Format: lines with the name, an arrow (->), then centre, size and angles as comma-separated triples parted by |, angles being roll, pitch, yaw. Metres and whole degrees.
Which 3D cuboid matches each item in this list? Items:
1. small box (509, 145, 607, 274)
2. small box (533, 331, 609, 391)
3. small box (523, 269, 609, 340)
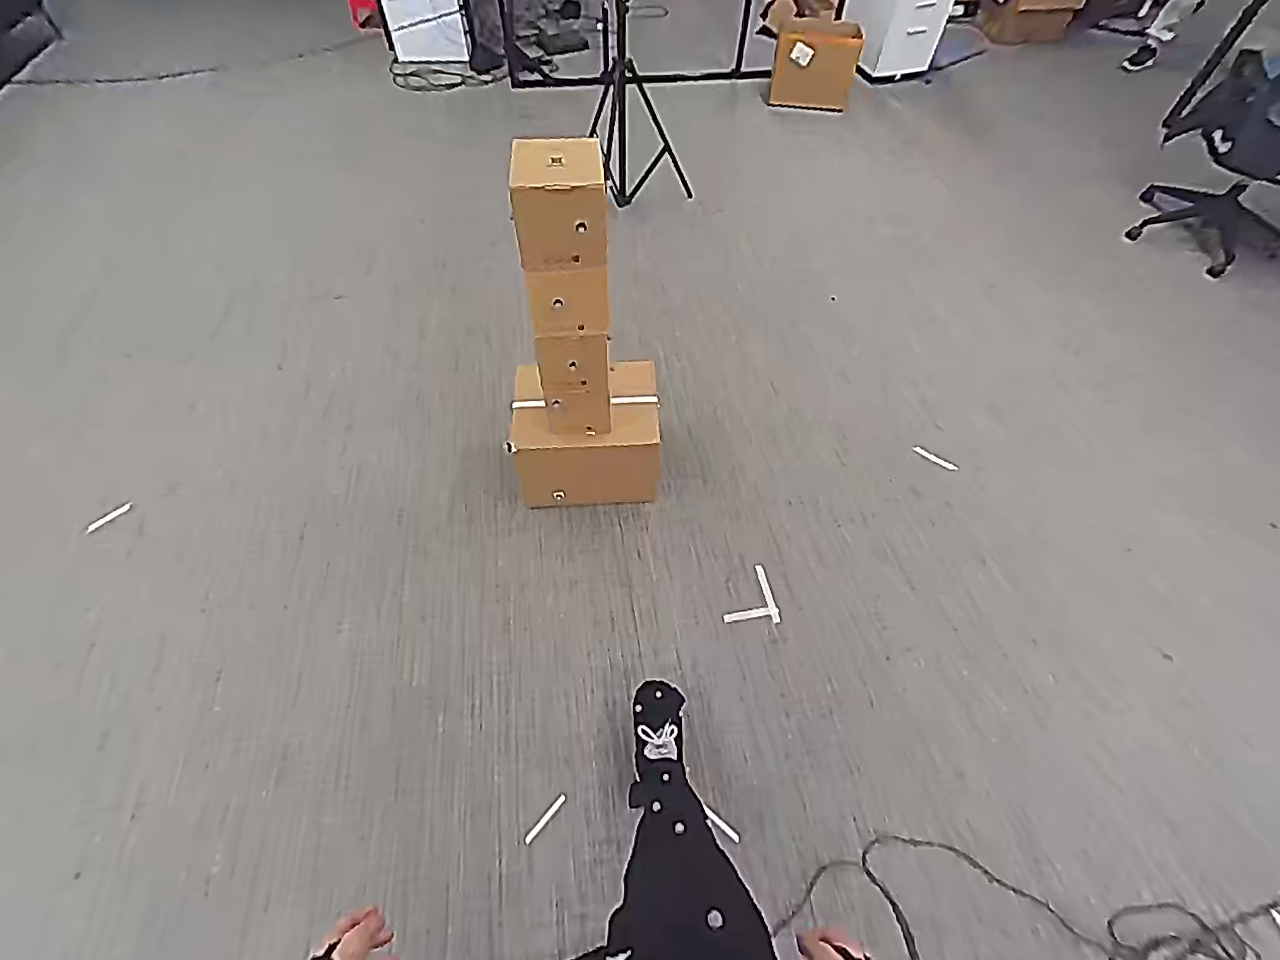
small box -> -0.153, -0.513, 1.038 | 0.168, 0.176, 0.179 | -4, 55, -5
small box -> -0.162, -0.329, 1.307 | 0.168, 0.176, 0.179 | -2, 57, -3
small box -> -0.155, -0.418, 1.170 | 0.168, 0.176, 0.179 | -4, 56, -4
